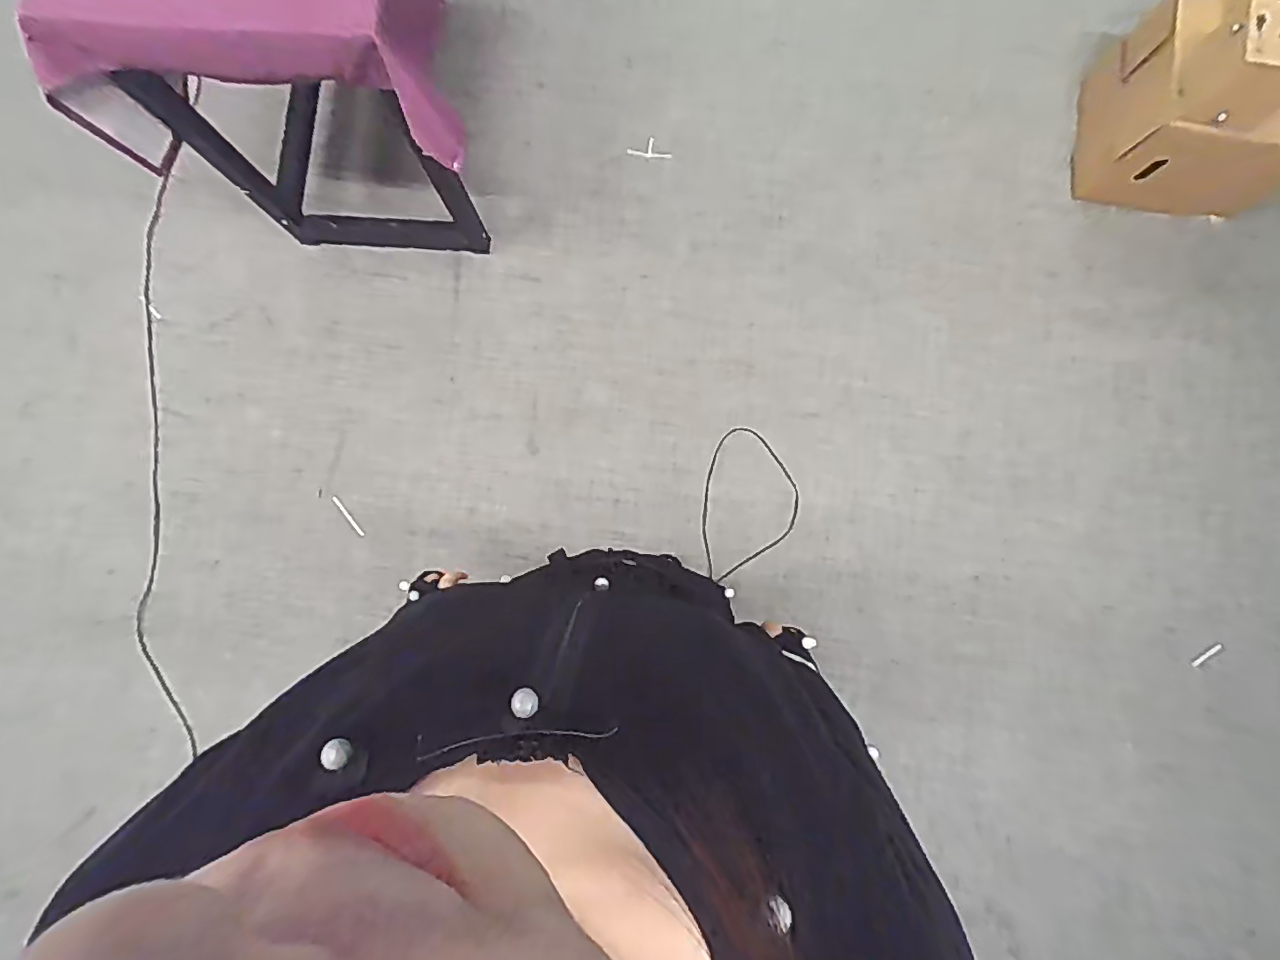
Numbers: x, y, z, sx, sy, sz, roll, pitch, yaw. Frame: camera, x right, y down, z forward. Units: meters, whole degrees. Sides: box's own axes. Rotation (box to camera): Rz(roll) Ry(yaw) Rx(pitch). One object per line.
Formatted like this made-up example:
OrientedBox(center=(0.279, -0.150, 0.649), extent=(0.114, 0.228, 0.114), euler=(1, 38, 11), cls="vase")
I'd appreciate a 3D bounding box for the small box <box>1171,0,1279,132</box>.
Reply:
OrientedBox(center=(1.412, -0.955, 1.259), extent=(0.179, 0.176, 0.168), euler=(13, 83, 0), cls="small box")
